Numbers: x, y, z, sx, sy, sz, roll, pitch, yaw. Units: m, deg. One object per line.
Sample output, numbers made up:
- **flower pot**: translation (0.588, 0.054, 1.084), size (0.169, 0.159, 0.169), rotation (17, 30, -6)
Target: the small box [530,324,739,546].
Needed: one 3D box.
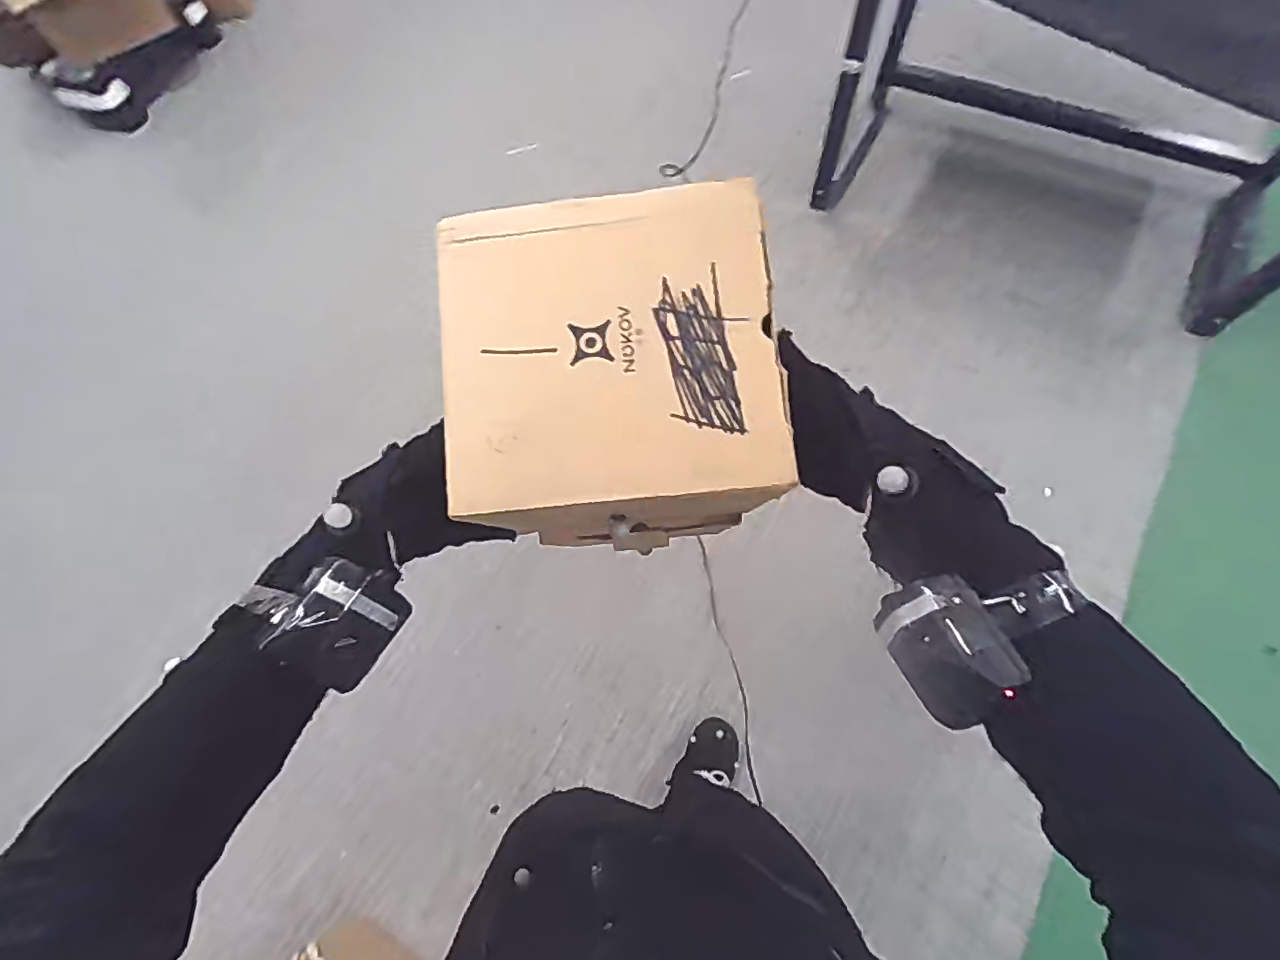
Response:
- **small box**: translation (-0.003, -0.030, 0.525), size (0.168, 0.176, 0.179), rotation (-5, 82, 1)
